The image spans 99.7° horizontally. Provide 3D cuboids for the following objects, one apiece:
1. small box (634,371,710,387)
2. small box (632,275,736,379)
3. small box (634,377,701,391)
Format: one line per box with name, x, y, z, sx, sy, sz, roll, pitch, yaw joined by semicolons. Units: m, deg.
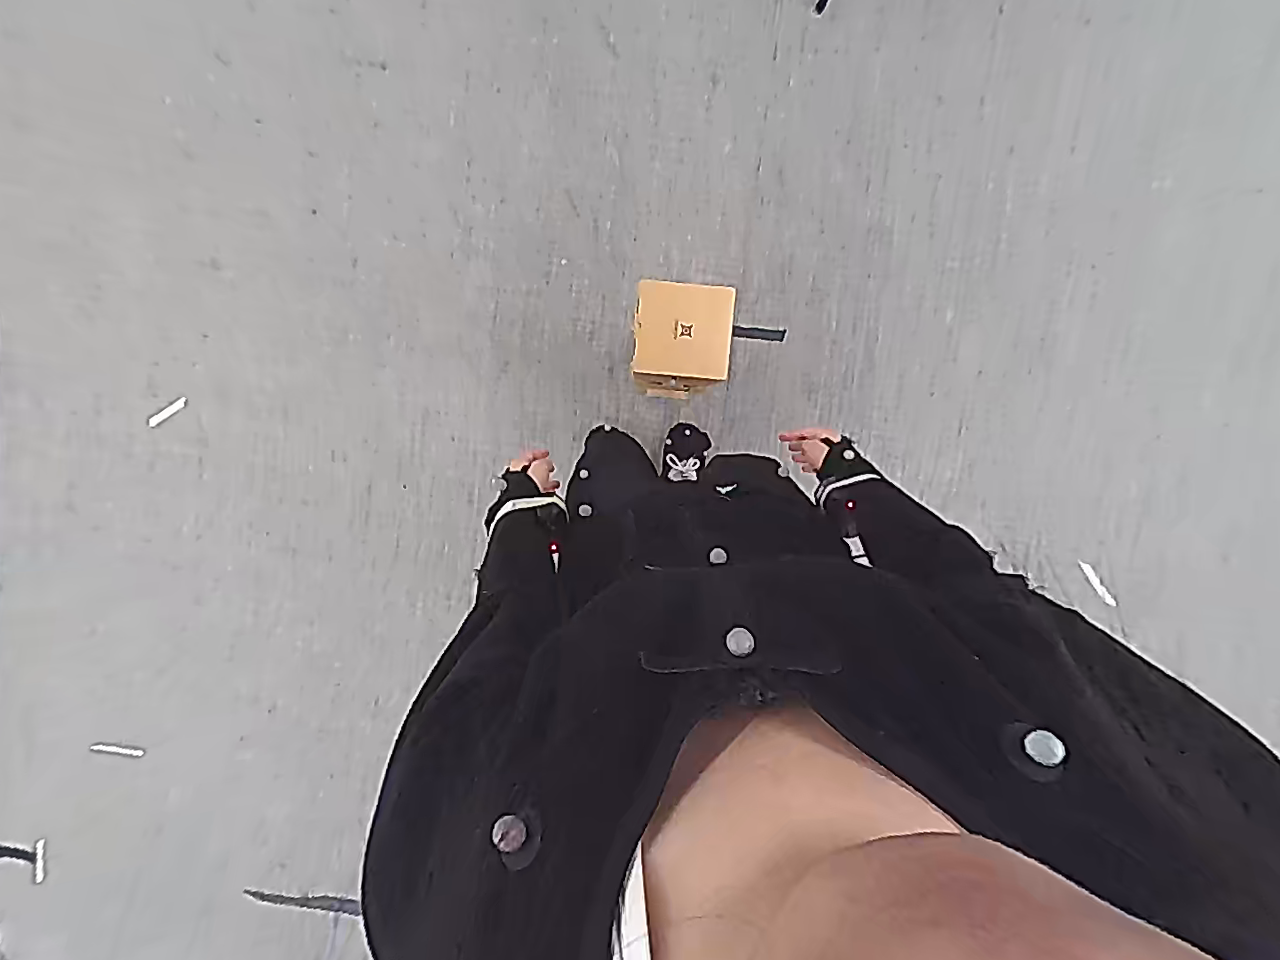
small box;0.078;-0.304;1.210;0.168;0.176;0.179;5;96;0
small box;0.078;-0.288;1.048;0.179;0.176;0.168;5;97;0
small box;0.079;-0.322;1.371;0.168;0.176;0.179;6;96;1
